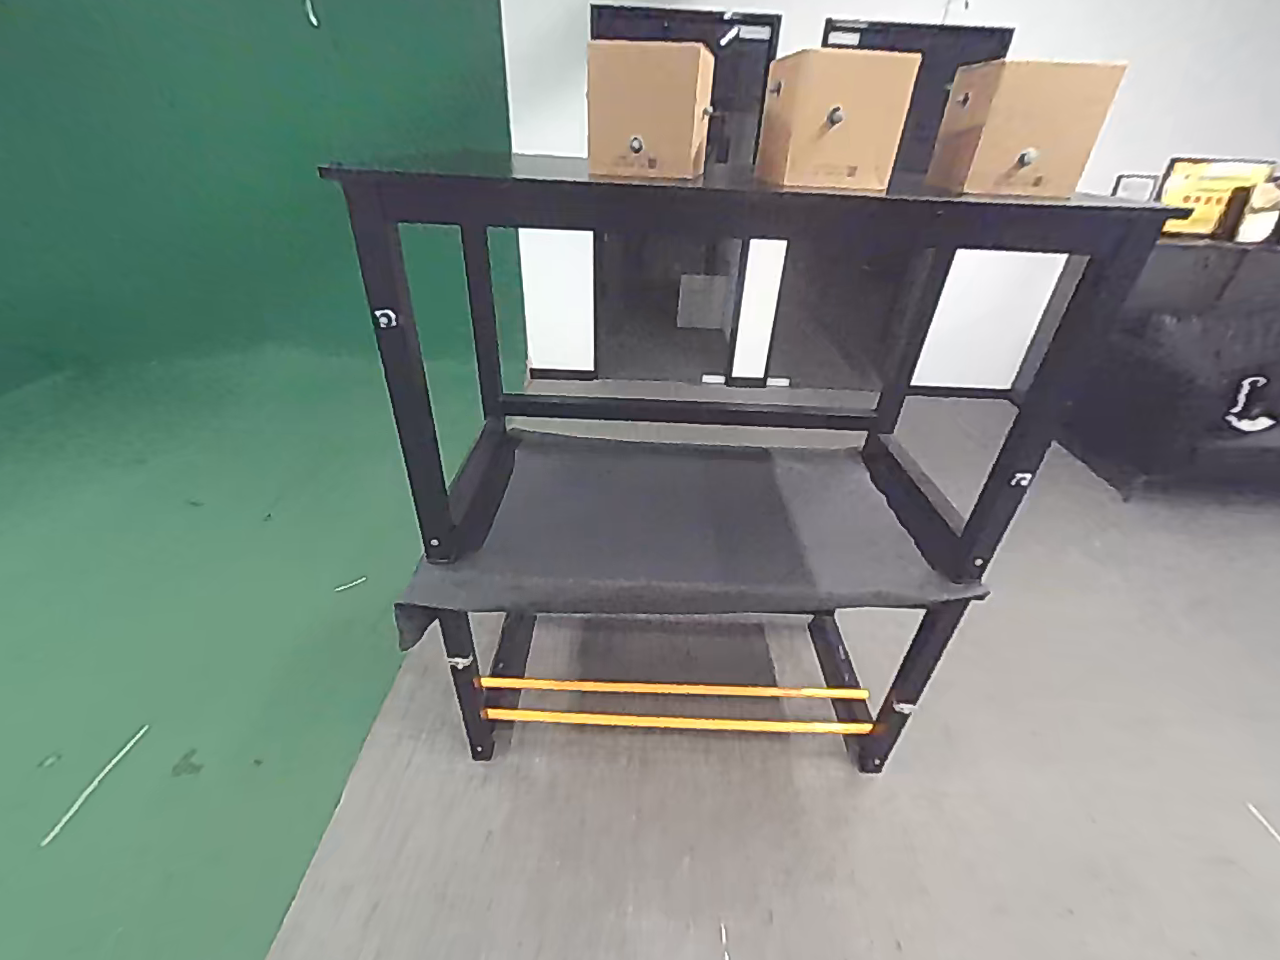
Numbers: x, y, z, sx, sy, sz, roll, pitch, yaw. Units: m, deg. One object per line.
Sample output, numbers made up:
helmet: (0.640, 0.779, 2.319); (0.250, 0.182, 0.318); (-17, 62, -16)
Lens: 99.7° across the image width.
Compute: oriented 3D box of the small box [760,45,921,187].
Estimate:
small box: (0.296, -0.558, 0.841); (0.168, 0.176, 0.179); (0, 33, -5)

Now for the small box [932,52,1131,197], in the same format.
small box: (0.589, -0.552, 0.848); (0.168, 0.176, 0.179); (5, 34, 4)
